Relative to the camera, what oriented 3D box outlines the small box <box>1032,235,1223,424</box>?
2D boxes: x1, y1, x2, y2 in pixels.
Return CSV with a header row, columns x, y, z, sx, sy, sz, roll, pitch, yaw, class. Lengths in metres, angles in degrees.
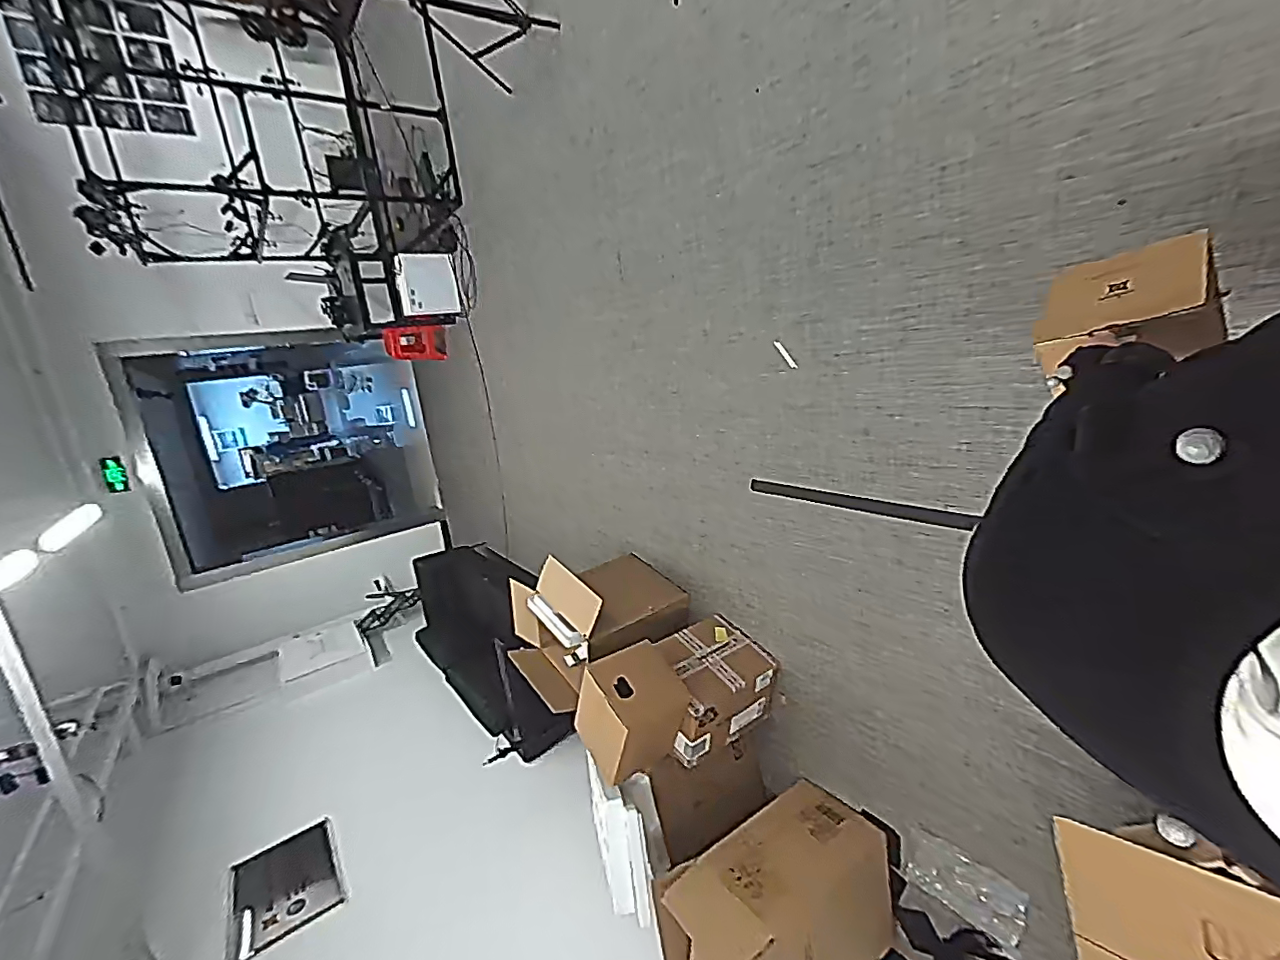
x,y,z,sx,sy,sz,roll,pitch,yaw,class
0.677,-0.192,0.748,0.168,0.179,0.176,-6,131,51,small box
